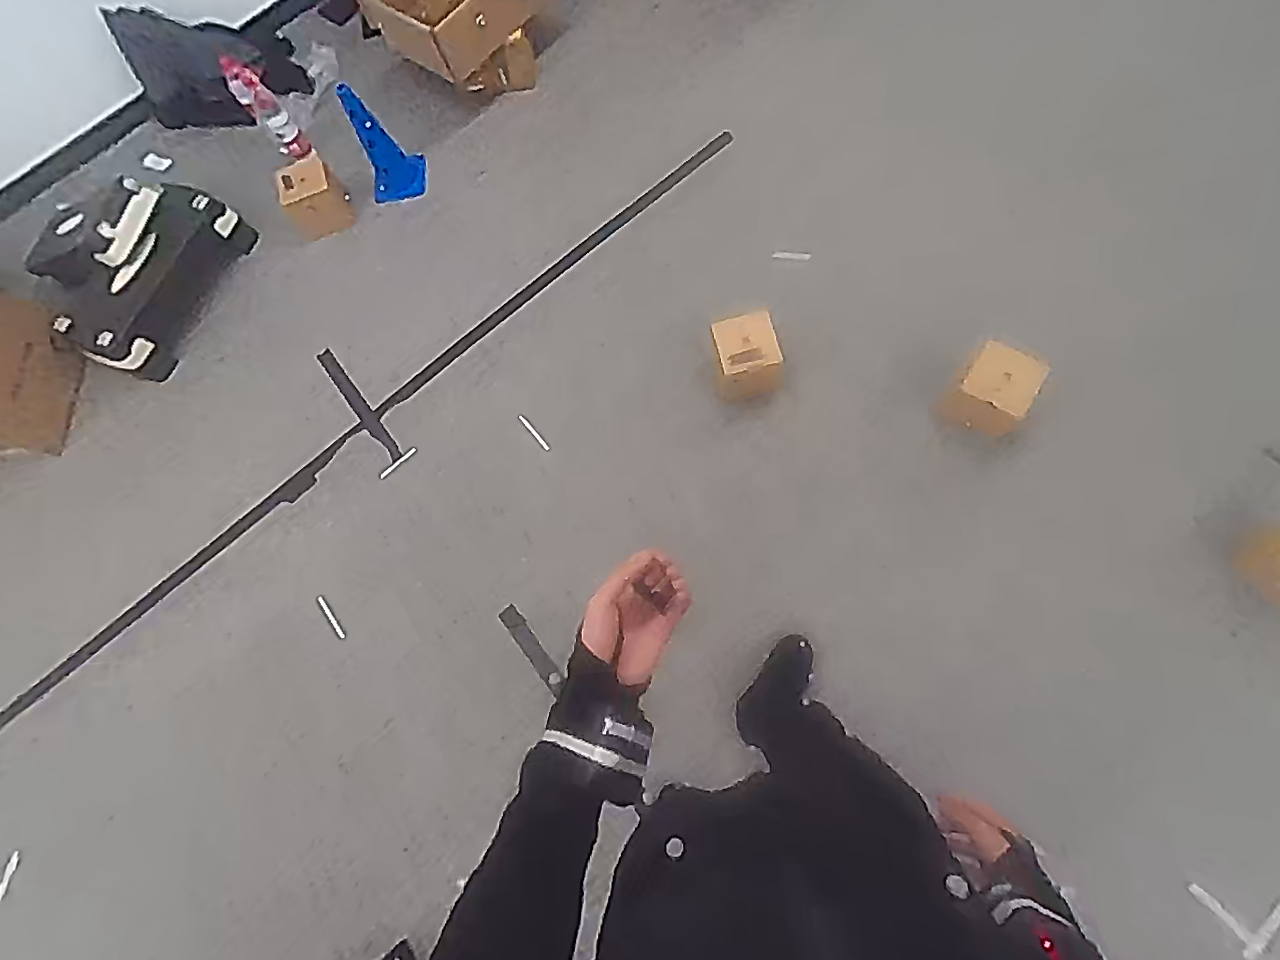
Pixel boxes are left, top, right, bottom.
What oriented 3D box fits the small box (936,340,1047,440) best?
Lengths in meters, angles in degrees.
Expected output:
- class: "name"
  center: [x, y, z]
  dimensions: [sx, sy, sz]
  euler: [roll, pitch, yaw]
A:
- class: "small box"
  center: [0.945, -0.239, 1.473]
  dimensions: [0.168, 0.176, 0.179]
  euler: [32, 80, 15]
